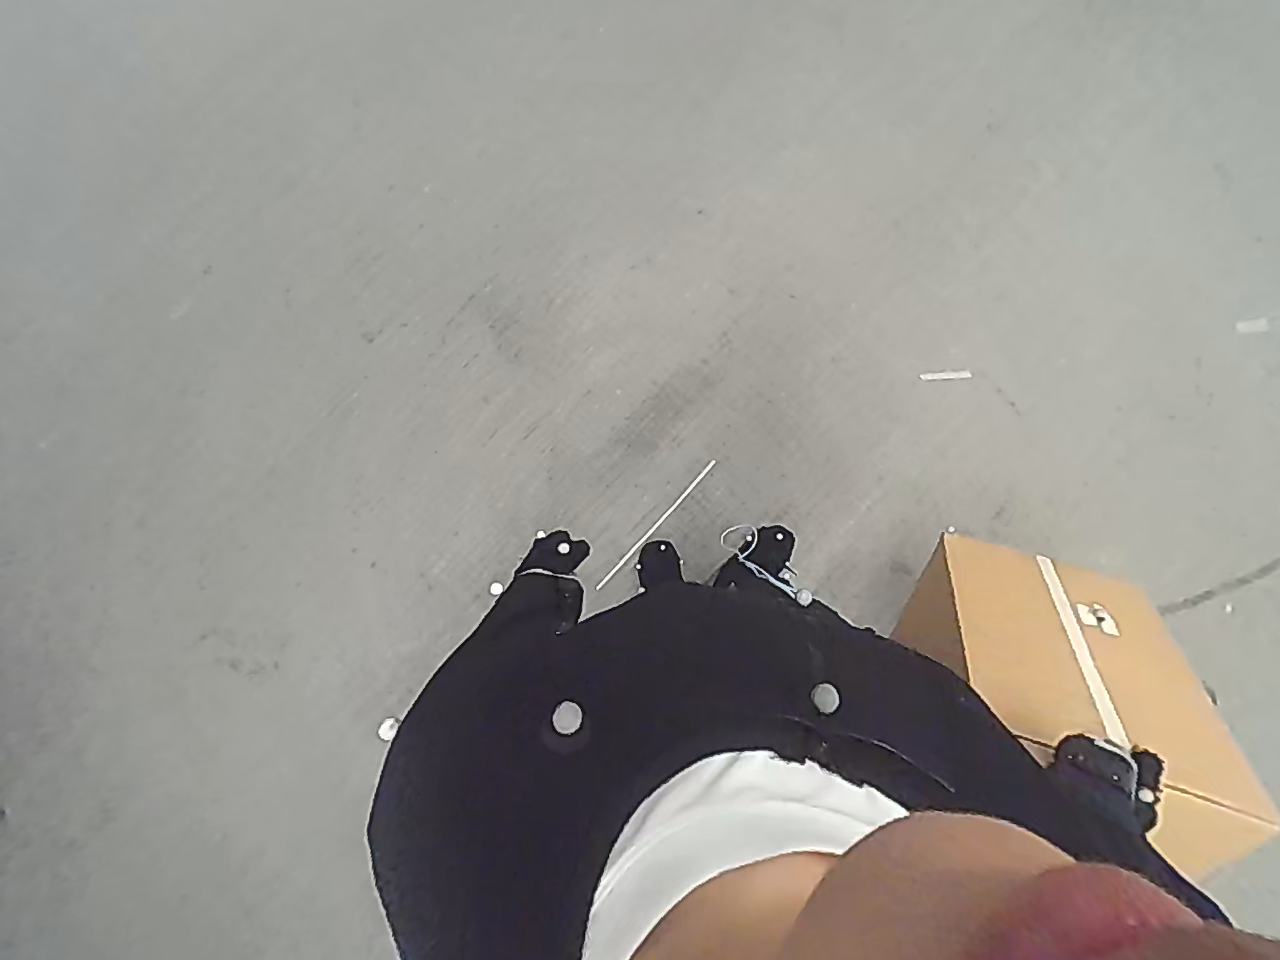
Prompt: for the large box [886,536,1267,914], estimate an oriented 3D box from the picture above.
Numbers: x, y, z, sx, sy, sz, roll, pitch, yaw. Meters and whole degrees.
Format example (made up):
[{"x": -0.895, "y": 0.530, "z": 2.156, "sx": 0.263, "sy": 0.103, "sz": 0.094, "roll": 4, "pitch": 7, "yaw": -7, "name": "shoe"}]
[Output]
[{"x": 0.608, "y": 0.362, "z": 0.872, "sx": 0.320, "sy": 0.408, "sz": 0.320, "roll": 17, "pitch": 125, "yaw": 13, "name": "large box"}]
